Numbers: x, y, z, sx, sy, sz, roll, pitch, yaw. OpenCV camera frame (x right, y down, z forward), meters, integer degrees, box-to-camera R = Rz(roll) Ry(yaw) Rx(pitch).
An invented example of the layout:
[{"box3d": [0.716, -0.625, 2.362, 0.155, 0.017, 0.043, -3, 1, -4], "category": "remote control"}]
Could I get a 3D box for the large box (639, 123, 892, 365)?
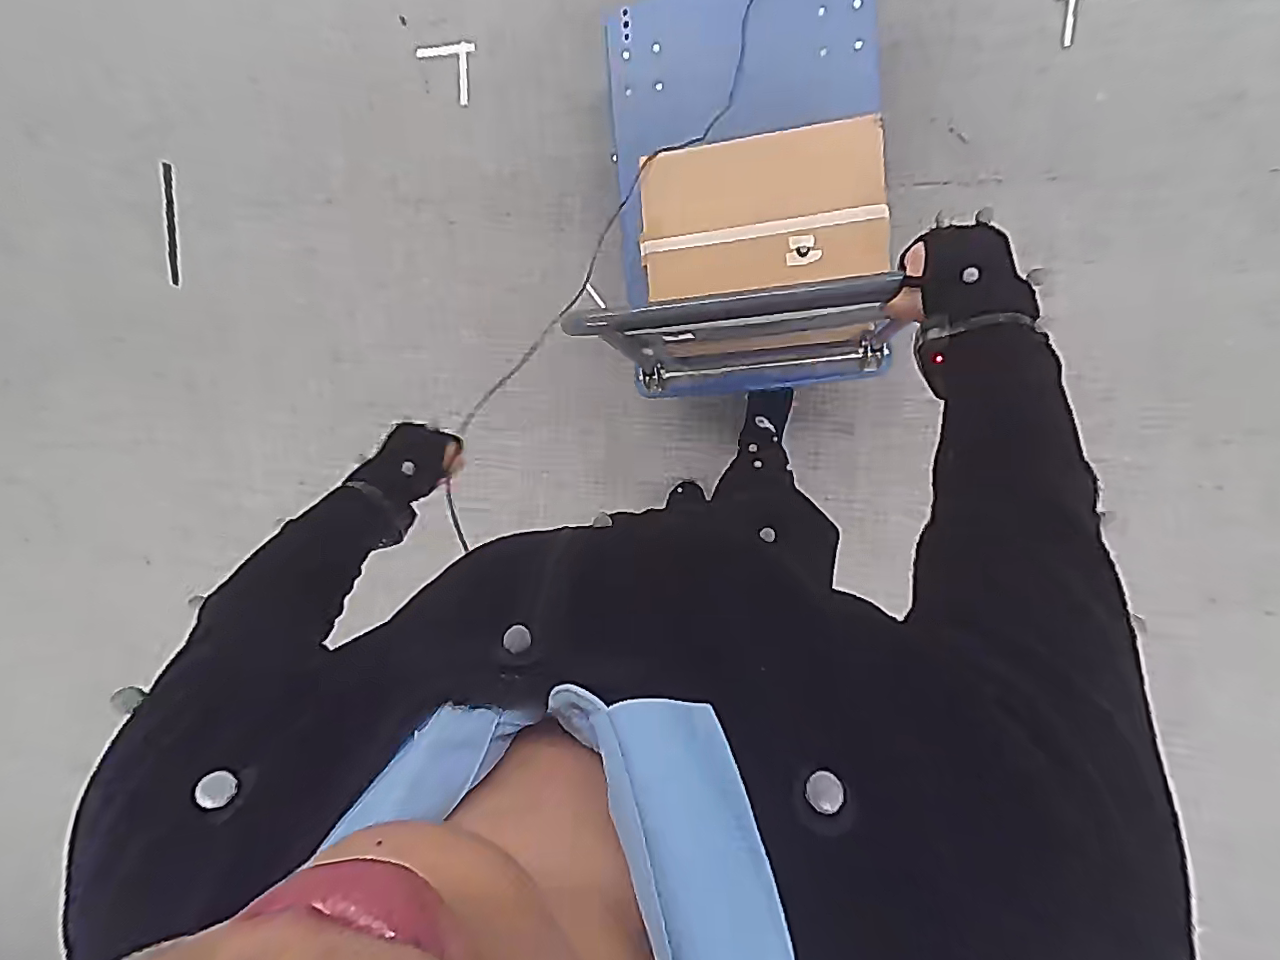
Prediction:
[{"box3d": [0.231, -0.419, 1.059, 0.408, 0.320, 0.320, -4, 95, 11], "category": "large box"}]
